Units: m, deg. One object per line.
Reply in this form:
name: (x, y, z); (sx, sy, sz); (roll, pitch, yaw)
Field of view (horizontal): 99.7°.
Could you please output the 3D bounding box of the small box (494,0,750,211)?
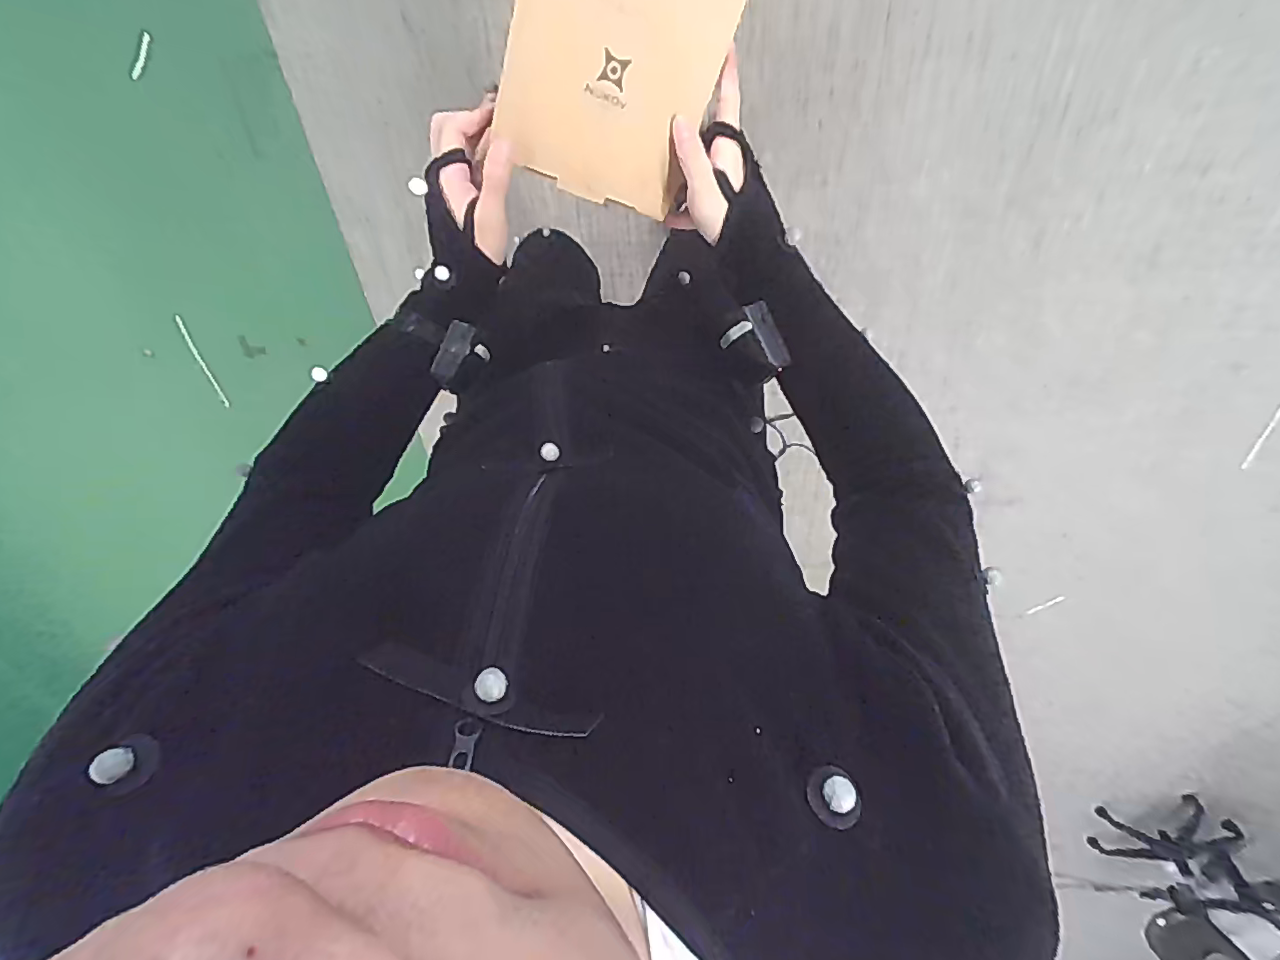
small box: (-0.030, -0.383, 0.497); (0.168, 0.176, 0.179); (11, 124, -22)
